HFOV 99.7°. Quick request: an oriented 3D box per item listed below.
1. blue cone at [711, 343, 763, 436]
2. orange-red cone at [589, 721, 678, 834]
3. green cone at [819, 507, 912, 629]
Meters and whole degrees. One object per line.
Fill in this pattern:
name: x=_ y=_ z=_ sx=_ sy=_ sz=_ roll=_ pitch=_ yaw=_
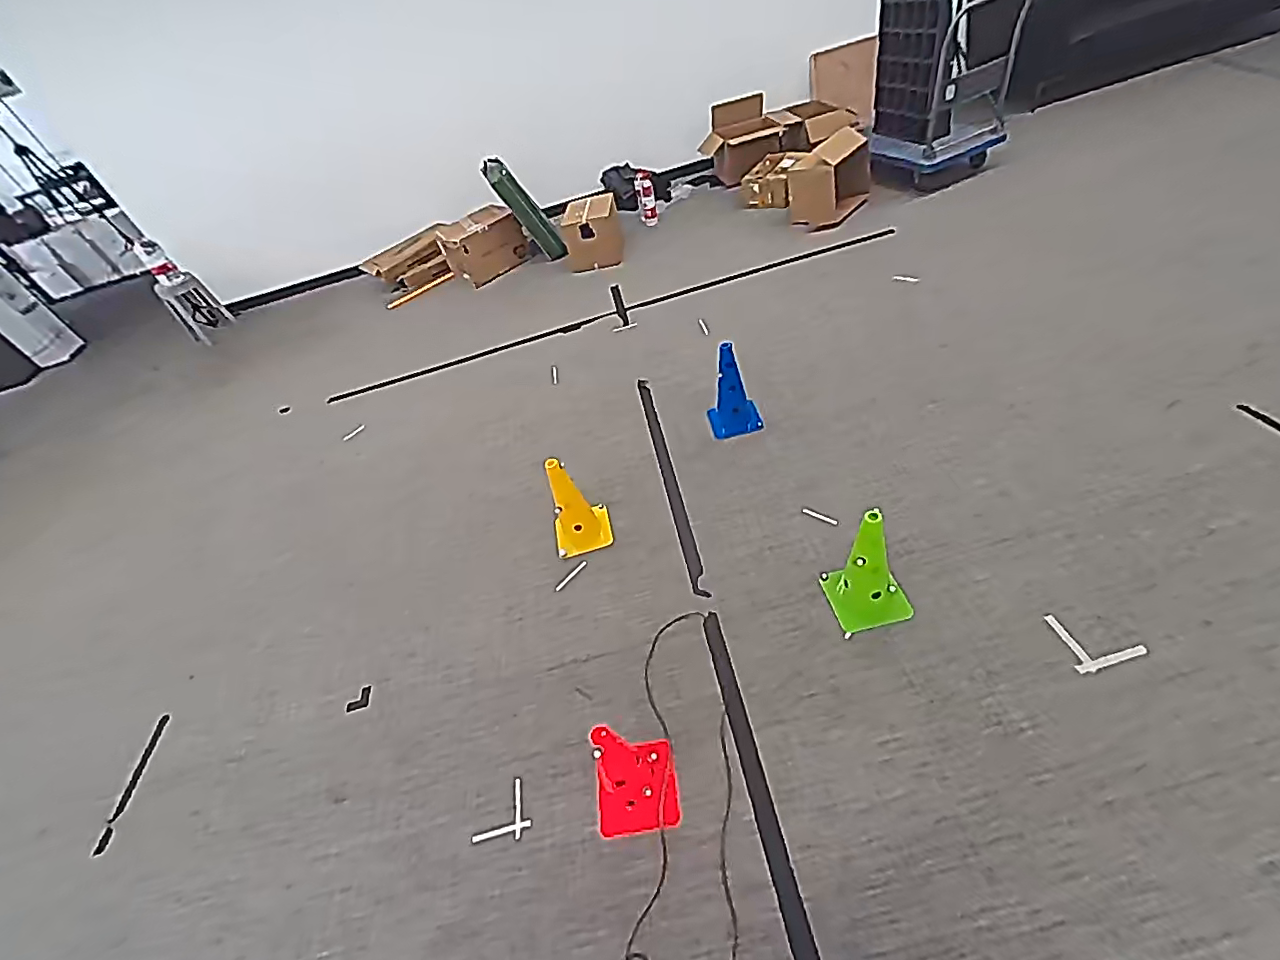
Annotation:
blue cone: x=0.361 y=-0.366 z=2.112 sx=0.192 sy=0.380 sz=0.193 roll=-12 pitch=44 yaw=4
orange-red cone: x=-0.048 y=0.638 z=1.226 sx=0.199 sy=0.360 sz=0.198 roll=-13 pitch=42 yaw=6
green cone: x=0.610 y=0.209 z=1.439 sx=0.202 sy=0.368 sz=0.200 roll=-15 pitch=44 yaw=2
